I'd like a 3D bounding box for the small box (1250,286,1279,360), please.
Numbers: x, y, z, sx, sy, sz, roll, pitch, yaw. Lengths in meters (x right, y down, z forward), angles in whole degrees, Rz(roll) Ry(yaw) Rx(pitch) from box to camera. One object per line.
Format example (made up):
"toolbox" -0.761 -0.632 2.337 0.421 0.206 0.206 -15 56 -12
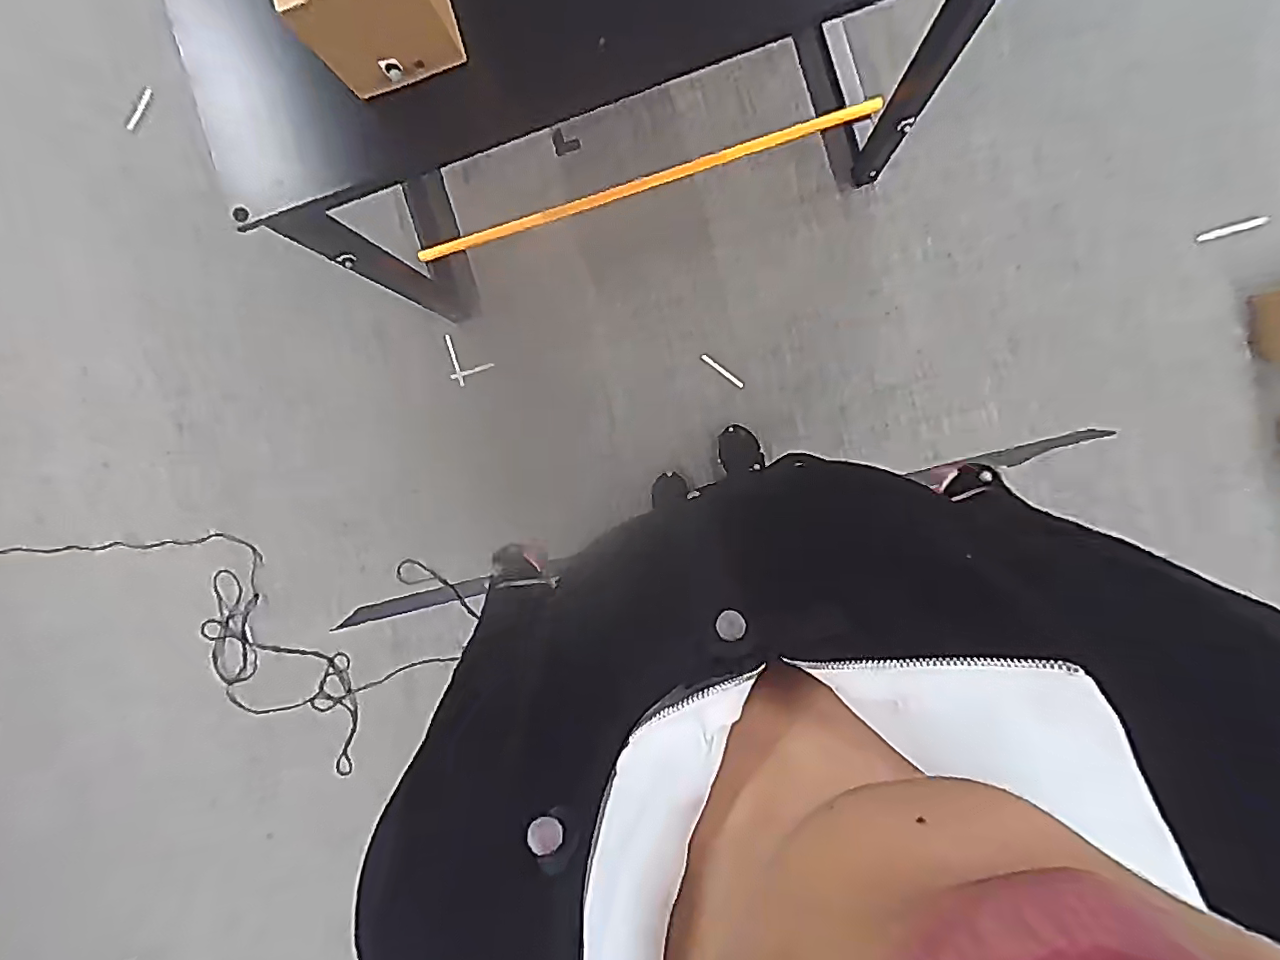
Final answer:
"small box" 1.577 -0.381 1.237 0.168 0.176 0.179 -15 92 6

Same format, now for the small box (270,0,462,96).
"small box" -0.350 -0.639 0.676 0.168 0.176 0.179 -16 93 7
